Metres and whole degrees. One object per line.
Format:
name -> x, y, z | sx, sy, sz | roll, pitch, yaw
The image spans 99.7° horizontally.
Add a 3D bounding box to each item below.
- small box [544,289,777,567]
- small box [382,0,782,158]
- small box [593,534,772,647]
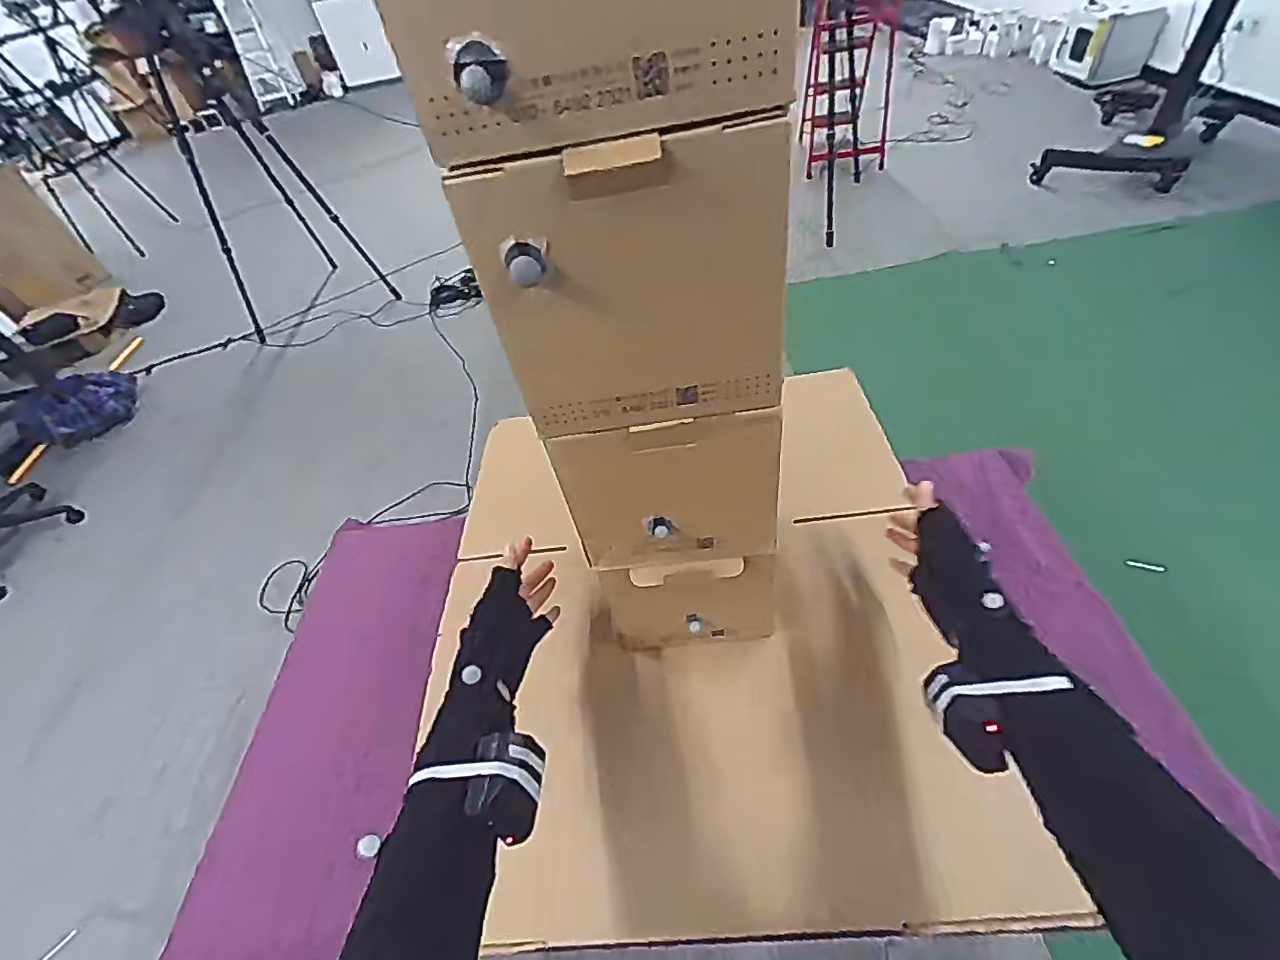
small box -> 0.022, -0.044, 0.487 | 0.168, 0.176, 0.179 | -7, 47, 5
small box -> -0.029, -0.270, 0.252 | 0.168, 0.176, 0.179 | -7, 45, 5
small box -> 0.048, 0.064, 0.605 | 0.168, 0.176, 0.179 | -8, 47, 6
